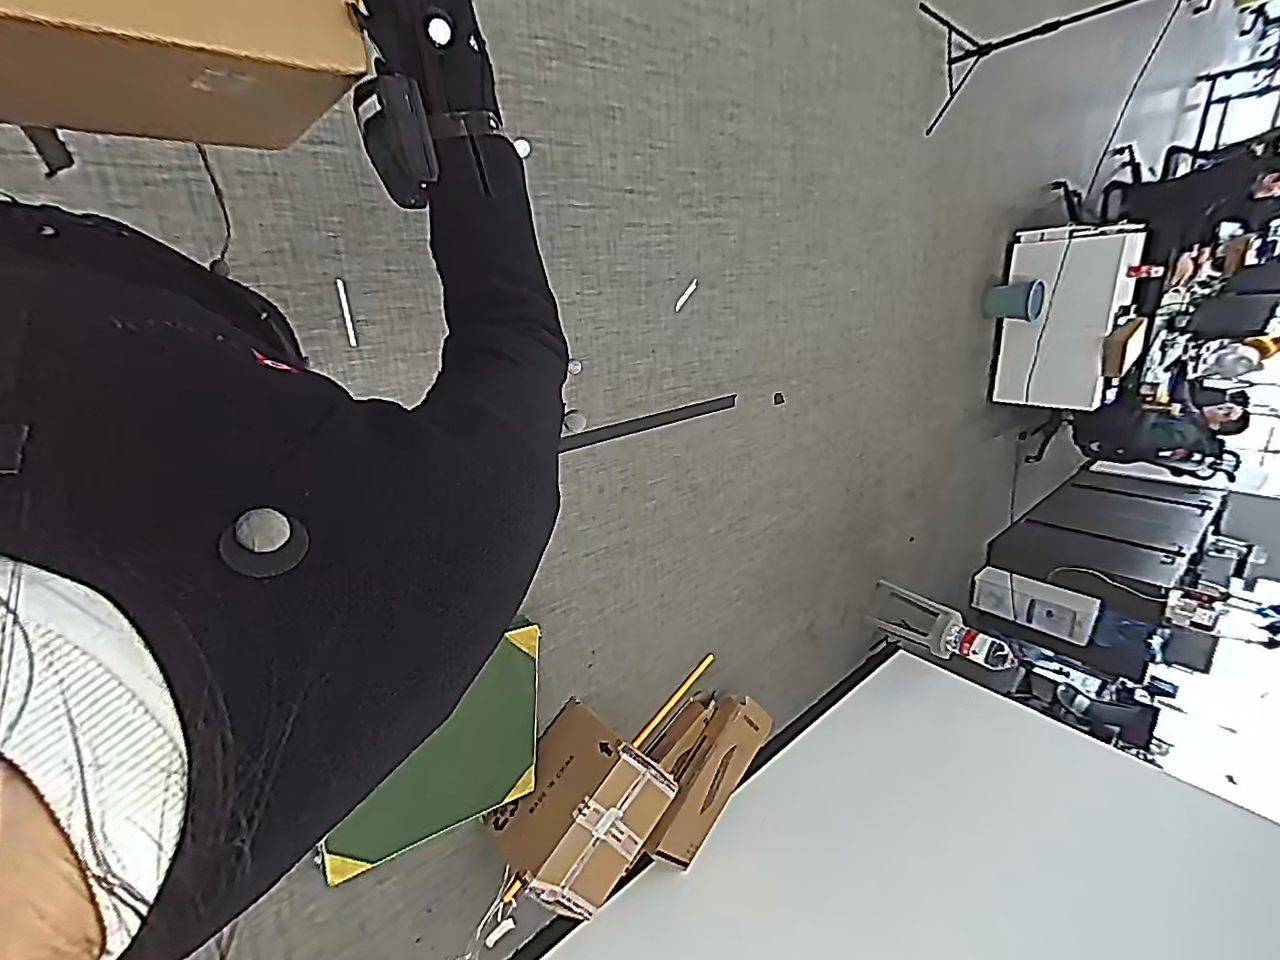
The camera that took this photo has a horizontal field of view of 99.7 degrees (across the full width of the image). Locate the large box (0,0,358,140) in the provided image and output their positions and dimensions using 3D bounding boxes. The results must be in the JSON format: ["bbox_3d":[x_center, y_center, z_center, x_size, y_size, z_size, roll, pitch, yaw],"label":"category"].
[{"bbox_3d":[-0.429,-0.391,0.274,0.408,0.320,0.320,-19,120,-37],"label":"large box"}]
